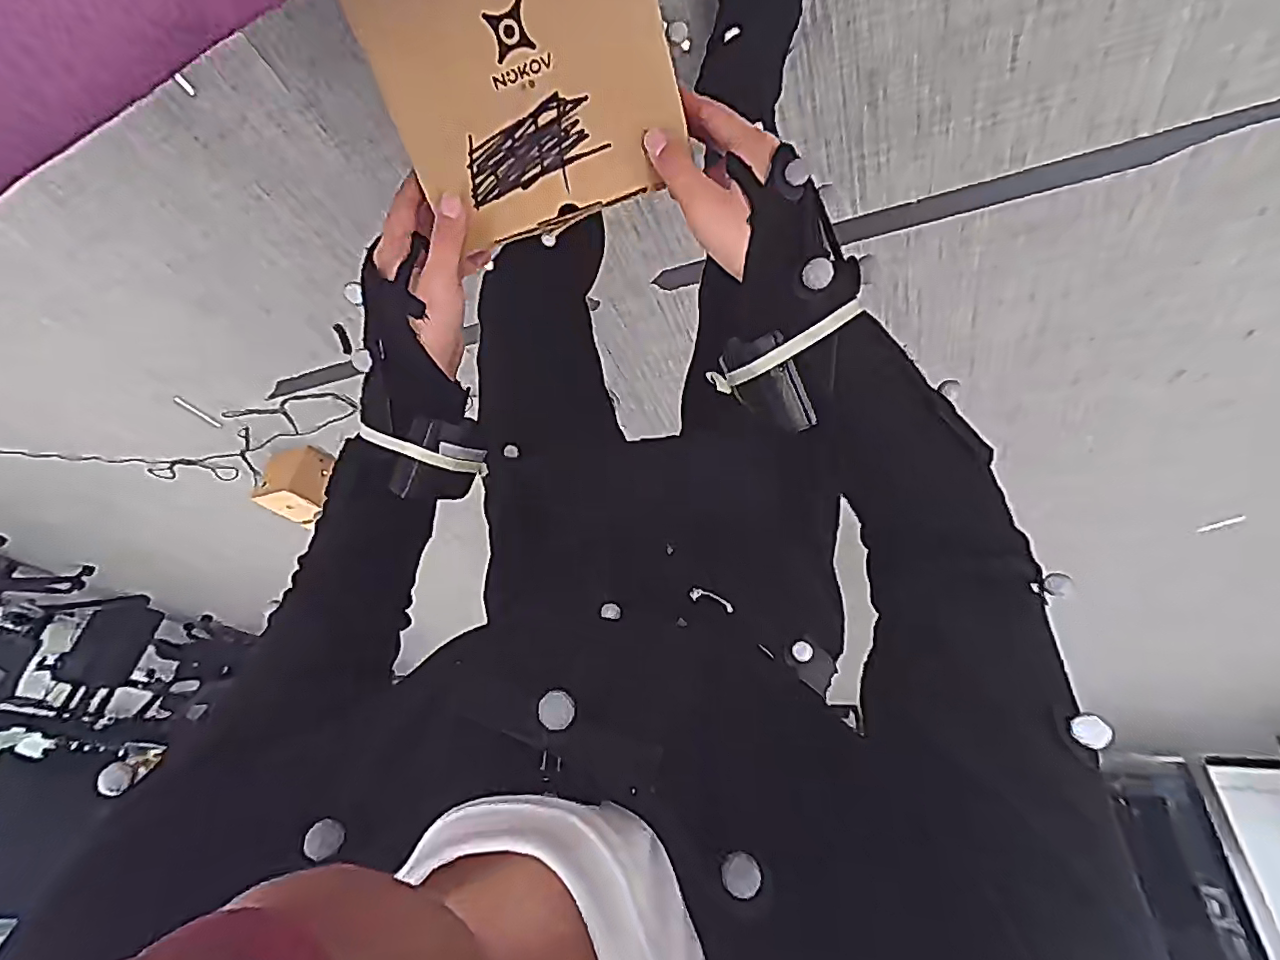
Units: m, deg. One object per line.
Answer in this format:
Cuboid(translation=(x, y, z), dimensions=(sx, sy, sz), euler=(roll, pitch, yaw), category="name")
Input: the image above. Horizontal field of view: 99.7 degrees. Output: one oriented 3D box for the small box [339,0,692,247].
Cuboid(translation=(-0.063, -0.276, 0.357), dimensions=(0.168, 0.176, 0.179), euler=(-14, 116, 12), category="small box")
